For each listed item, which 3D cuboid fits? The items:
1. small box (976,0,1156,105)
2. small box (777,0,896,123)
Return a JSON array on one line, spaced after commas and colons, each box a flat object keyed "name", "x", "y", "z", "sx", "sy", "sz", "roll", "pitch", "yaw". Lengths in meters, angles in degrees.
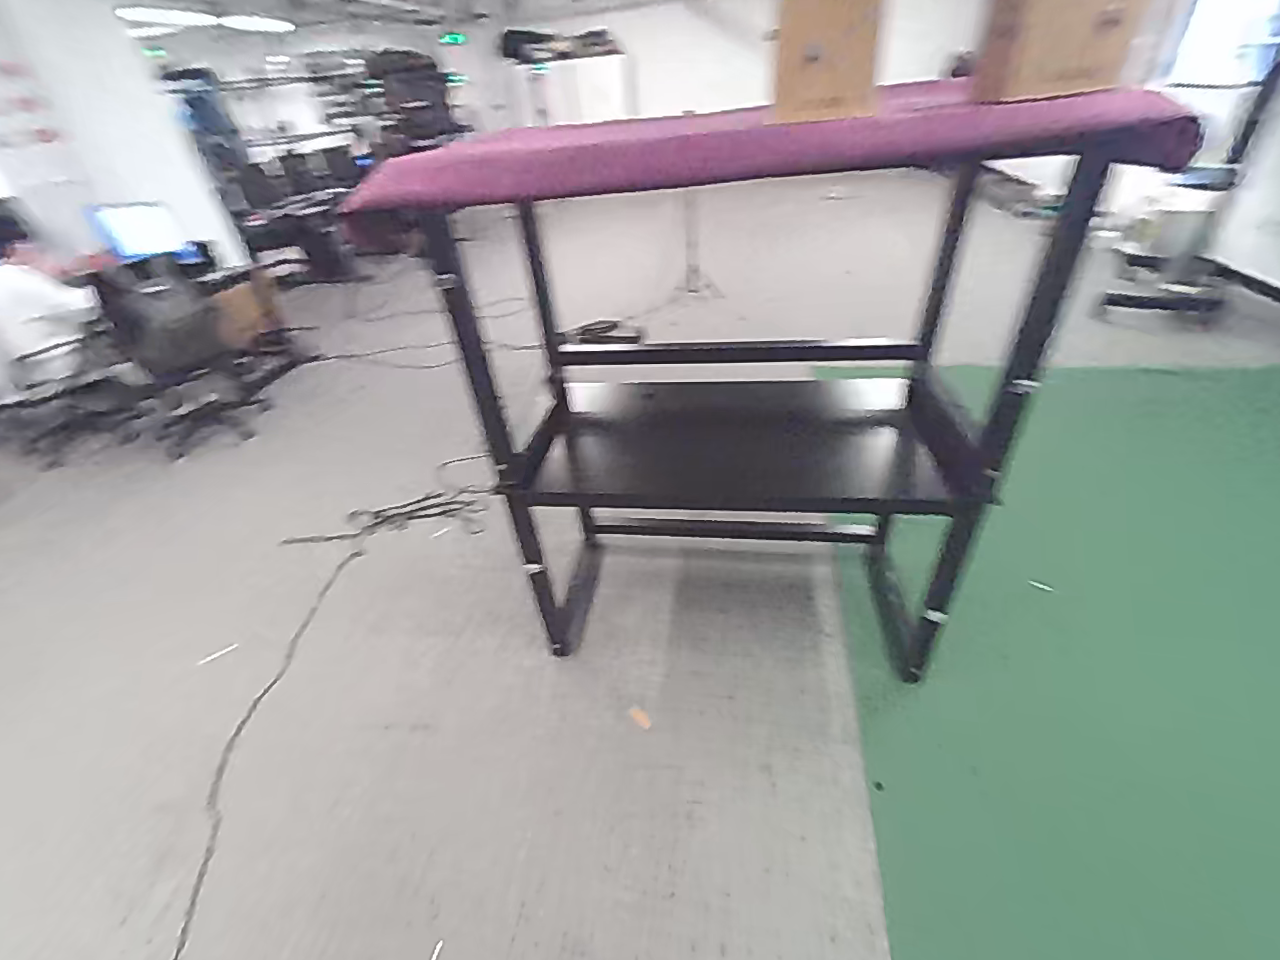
[{"name": "small box", "x": 0.658, "y": -0.697, "z": 0.842, "sx": 0.168, "sy": 0.176, "sz": 0.179, "roll": 1, "pitch": 35, "yaw": 9}, {"name": "small box", "x": 0.320, "y": -0.700, "z": 0.896, "sx": 0.168, "sy": 0.176, "sz": 0.179, "roll": 5, "pitch": 36, "yaw": 14}]
